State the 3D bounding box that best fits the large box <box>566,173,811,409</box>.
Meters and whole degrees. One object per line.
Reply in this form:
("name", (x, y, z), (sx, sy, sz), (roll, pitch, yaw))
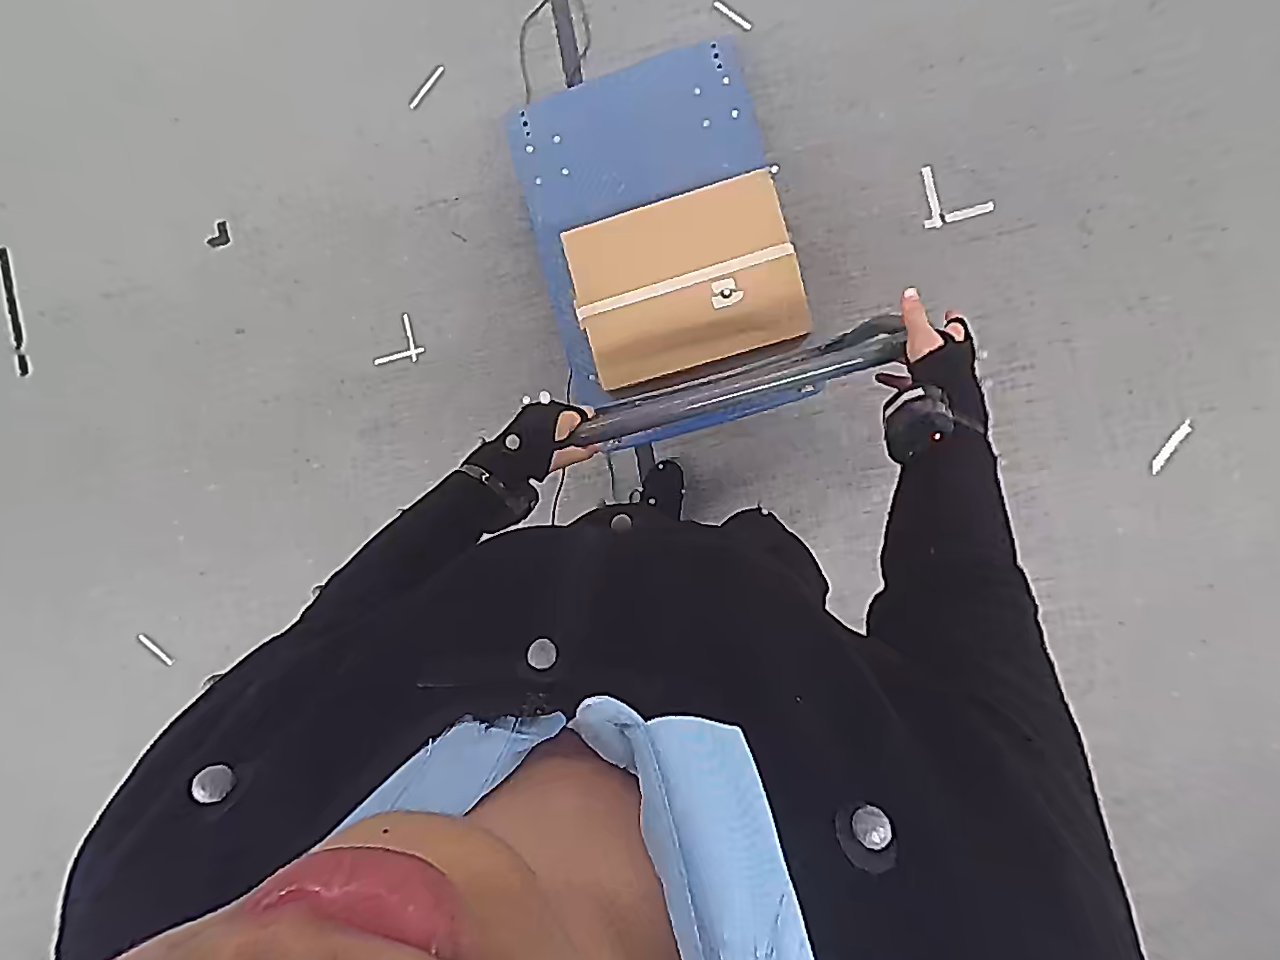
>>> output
("large box", (0.098, -0.368, 1.159), (0.408, 0.320, 0.320), (-15, 91, 5))
